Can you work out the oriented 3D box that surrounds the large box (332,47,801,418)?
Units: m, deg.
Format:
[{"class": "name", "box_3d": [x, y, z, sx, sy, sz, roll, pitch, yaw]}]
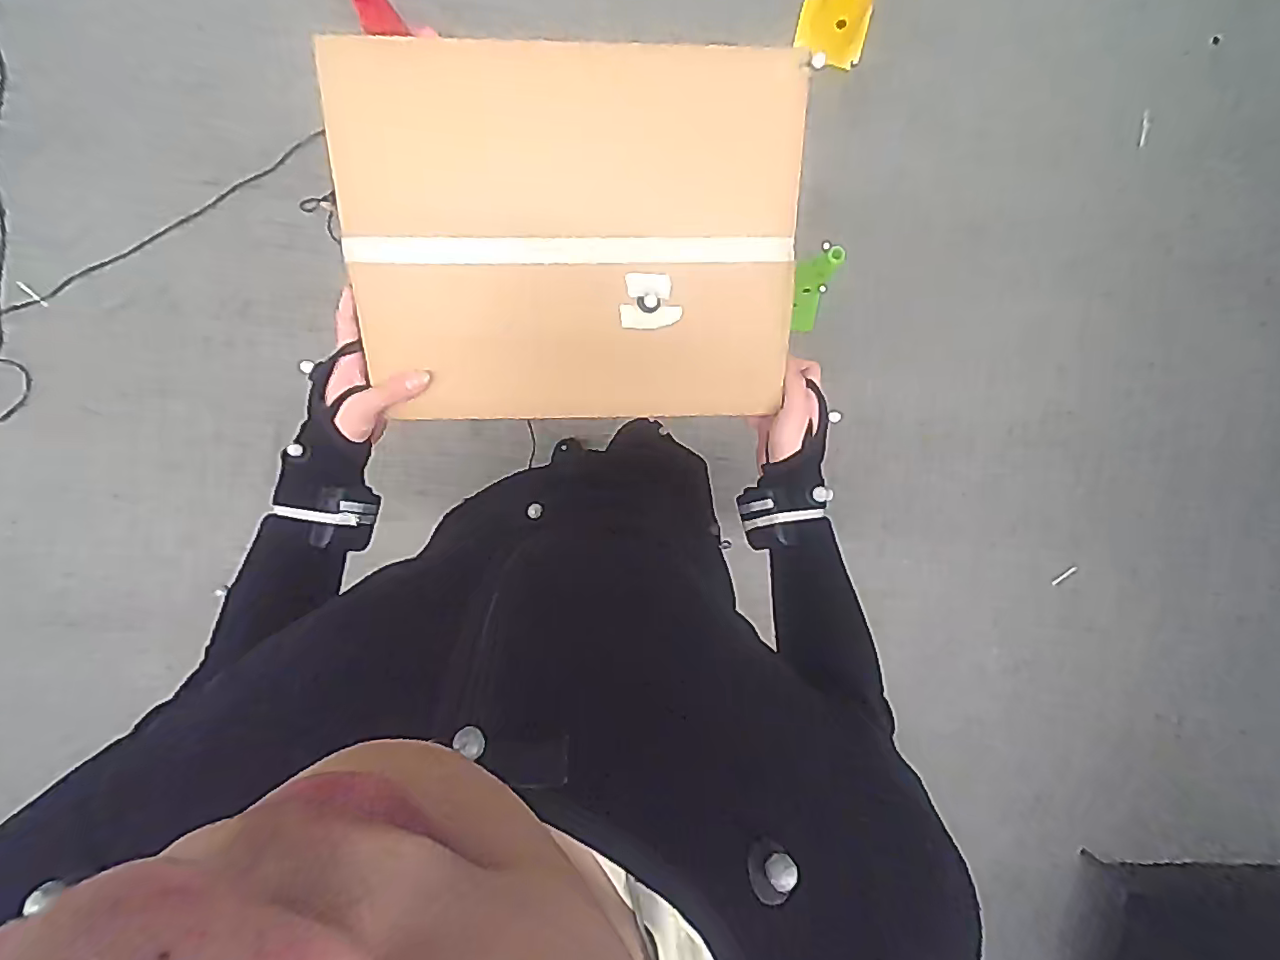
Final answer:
[{"class": "large box", "box_3d": [-0.068, -0.261, 0.642, 0.408, 0.320, 0.320, -1, 109, -4]}]

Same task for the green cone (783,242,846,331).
[{"class": "green cone", "box_3d": [0.451, -0.547, 1.445, 0.200, 0.368, 0.202, 10, 93, -6]}]
